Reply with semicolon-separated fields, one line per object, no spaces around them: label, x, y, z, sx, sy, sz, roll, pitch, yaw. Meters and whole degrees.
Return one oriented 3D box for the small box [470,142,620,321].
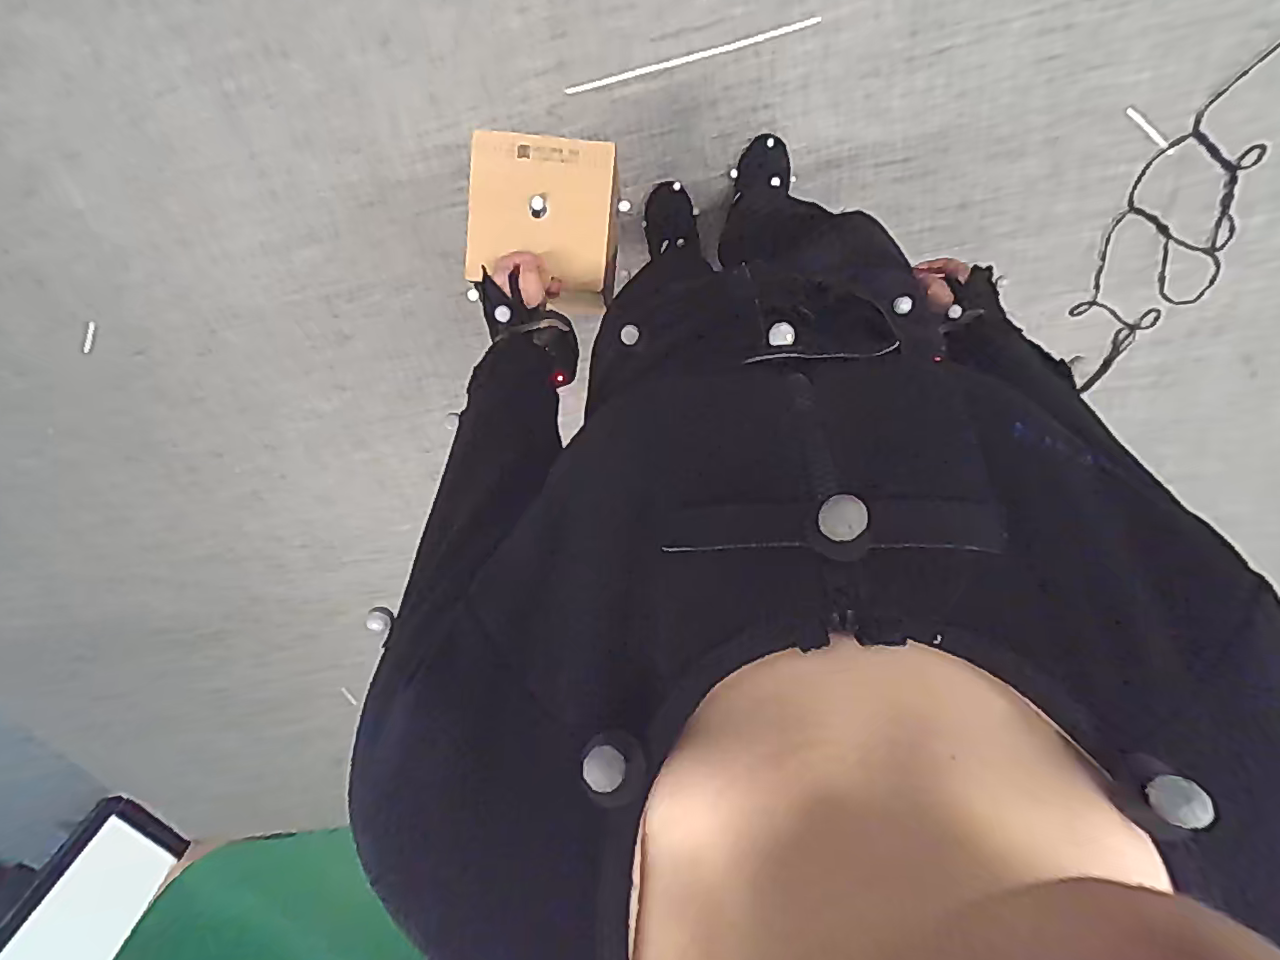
small box;-0.116;-0.315;0.710;0.168;0.179;0.176;5;97;0
